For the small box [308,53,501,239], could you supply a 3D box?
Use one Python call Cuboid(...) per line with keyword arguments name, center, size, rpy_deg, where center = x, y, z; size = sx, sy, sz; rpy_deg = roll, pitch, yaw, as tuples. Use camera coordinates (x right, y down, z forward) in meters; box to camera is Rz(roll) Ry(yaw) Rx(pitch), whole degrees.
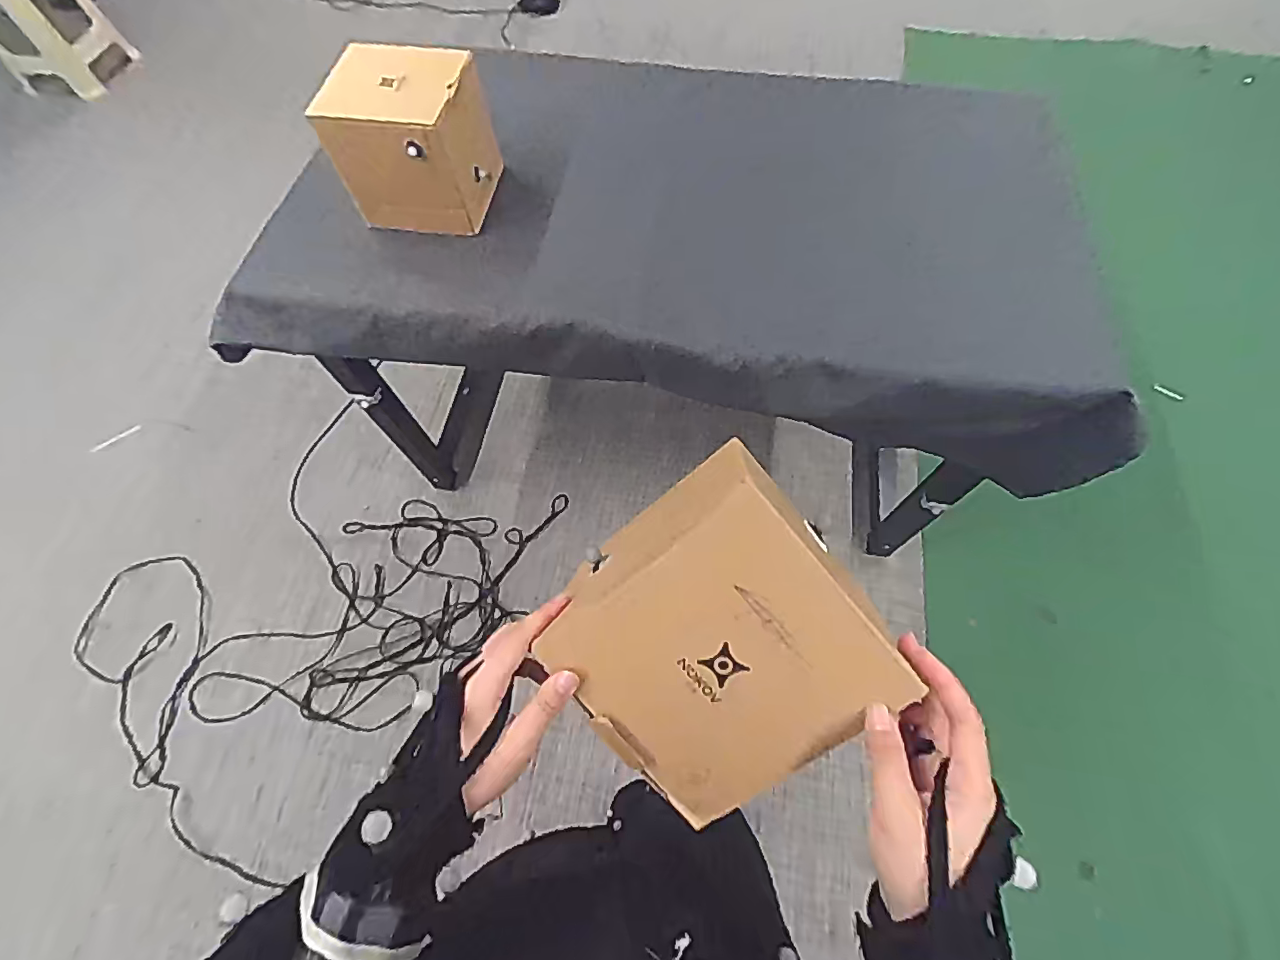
Cuboid(name="small box", center=(-0.321, -0.473, 0.779), size=(0.179, 0.176, 0.168), rpy_deg=(7, 64, 4))
